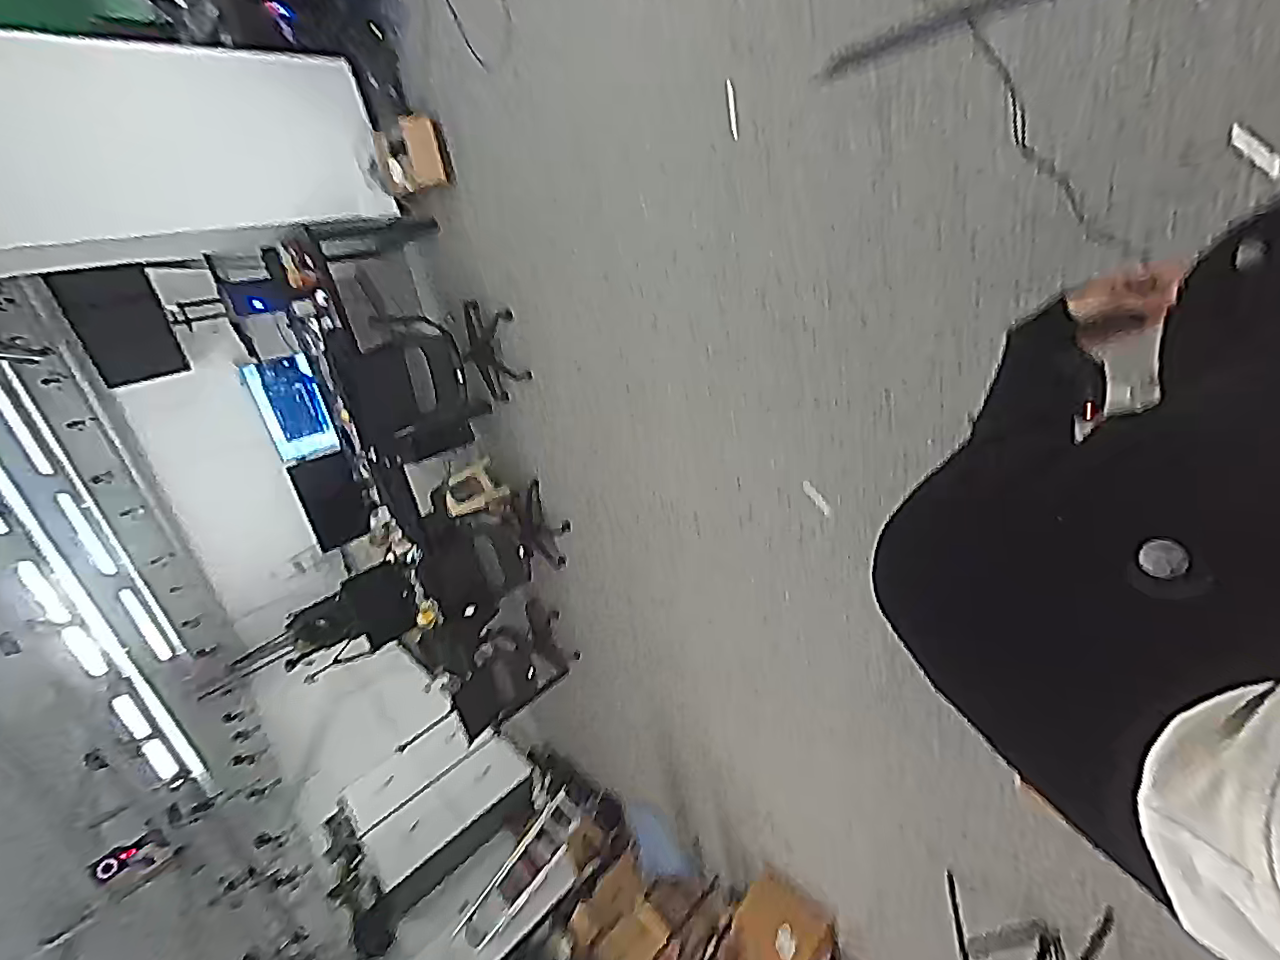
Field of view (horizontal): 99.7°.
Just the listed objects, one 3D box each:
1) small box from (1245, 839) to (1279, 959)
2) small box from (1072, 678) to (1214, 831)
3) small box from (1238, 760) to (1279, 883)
[{"bbox_3d":[1.074,0.698,0.823,0.168,0.176,0.179,17,127,43],"label":"small box"},{"bbox_3d":[1.002,0.535,1.079,0.168,0.176,0.179,20,130,42],"label":"small box"},{"bbox_3d":[1.183,0.627,0.923,0.179,0.176,0.168,21,129,43],"label":"small box"}]
